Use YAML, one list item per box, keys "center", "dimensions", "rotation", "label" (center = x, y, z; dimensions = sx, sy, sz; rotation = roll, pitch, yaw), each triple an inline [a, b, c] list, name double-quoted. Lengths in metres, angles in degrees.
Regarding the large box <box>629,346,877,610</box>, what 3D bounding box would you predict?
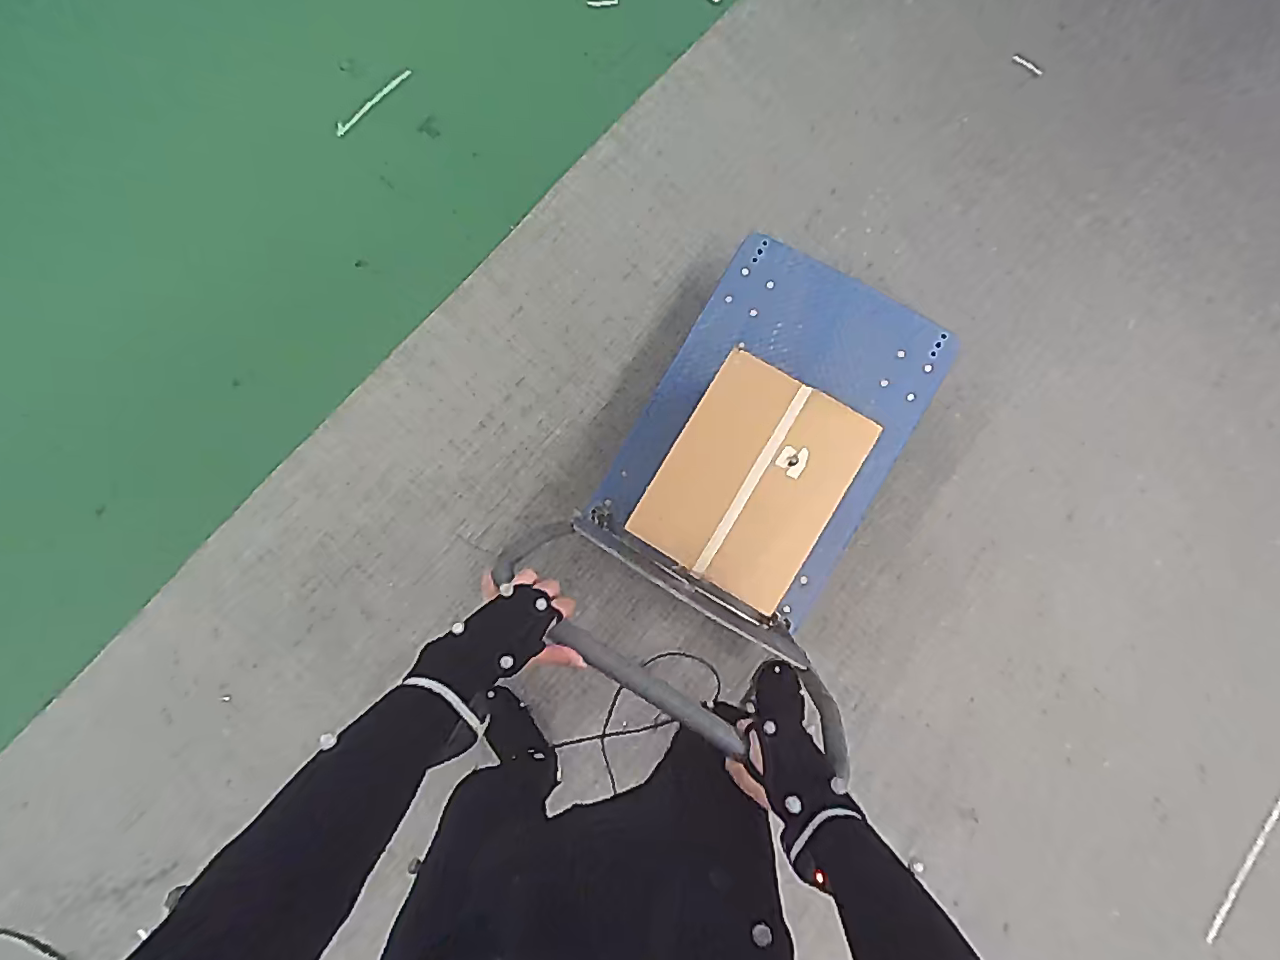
- center: [0.218, 0.006, 1.142]
  dimensions: [0.320, 0.320, 0.408]
  rotation: [31, 88, 6]
  label: "large box"
